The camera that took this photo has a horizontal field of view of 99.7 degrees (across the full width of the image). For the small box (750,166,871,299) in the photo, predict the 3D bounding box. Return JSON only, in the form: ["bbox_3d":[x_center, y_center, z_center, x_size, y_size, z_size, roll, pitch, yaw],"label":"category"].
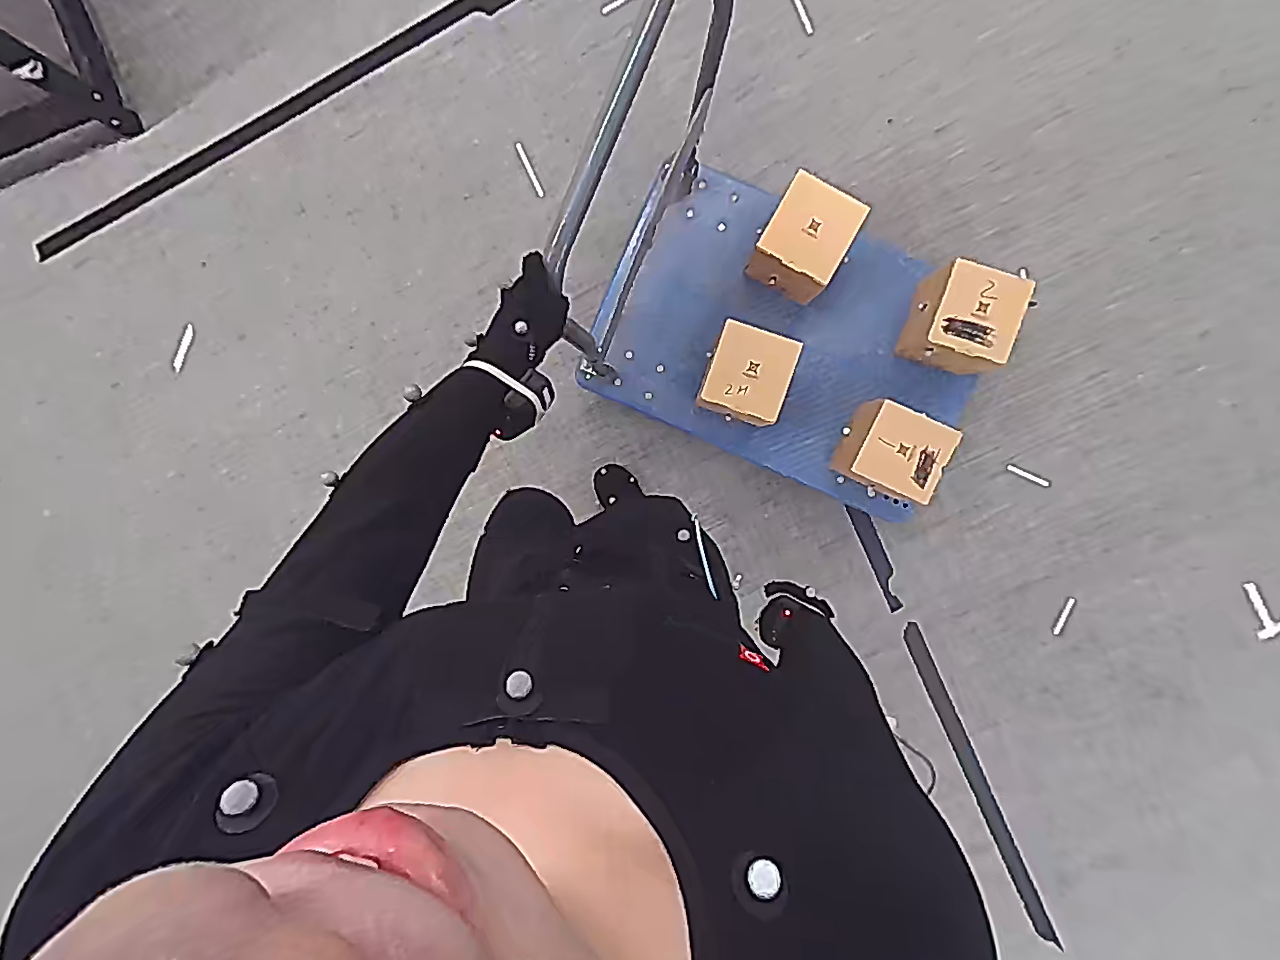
[{"bbox_3d":[0.353,-0.520,1.161,0.168,0.176,0.179,29,96,-1],"label":"small box"}]

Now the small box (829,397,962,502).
[{"bbox_3d":[0.550,-0.070,1.188,0.179,0.176,0.168,25,95,1],"label":"small box"}]

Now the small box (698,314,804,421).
[{"bbox_3d":[0.233,-0.238,1.187,0.168,0.176,0.179,19,95,1],"label":"small box"}]
